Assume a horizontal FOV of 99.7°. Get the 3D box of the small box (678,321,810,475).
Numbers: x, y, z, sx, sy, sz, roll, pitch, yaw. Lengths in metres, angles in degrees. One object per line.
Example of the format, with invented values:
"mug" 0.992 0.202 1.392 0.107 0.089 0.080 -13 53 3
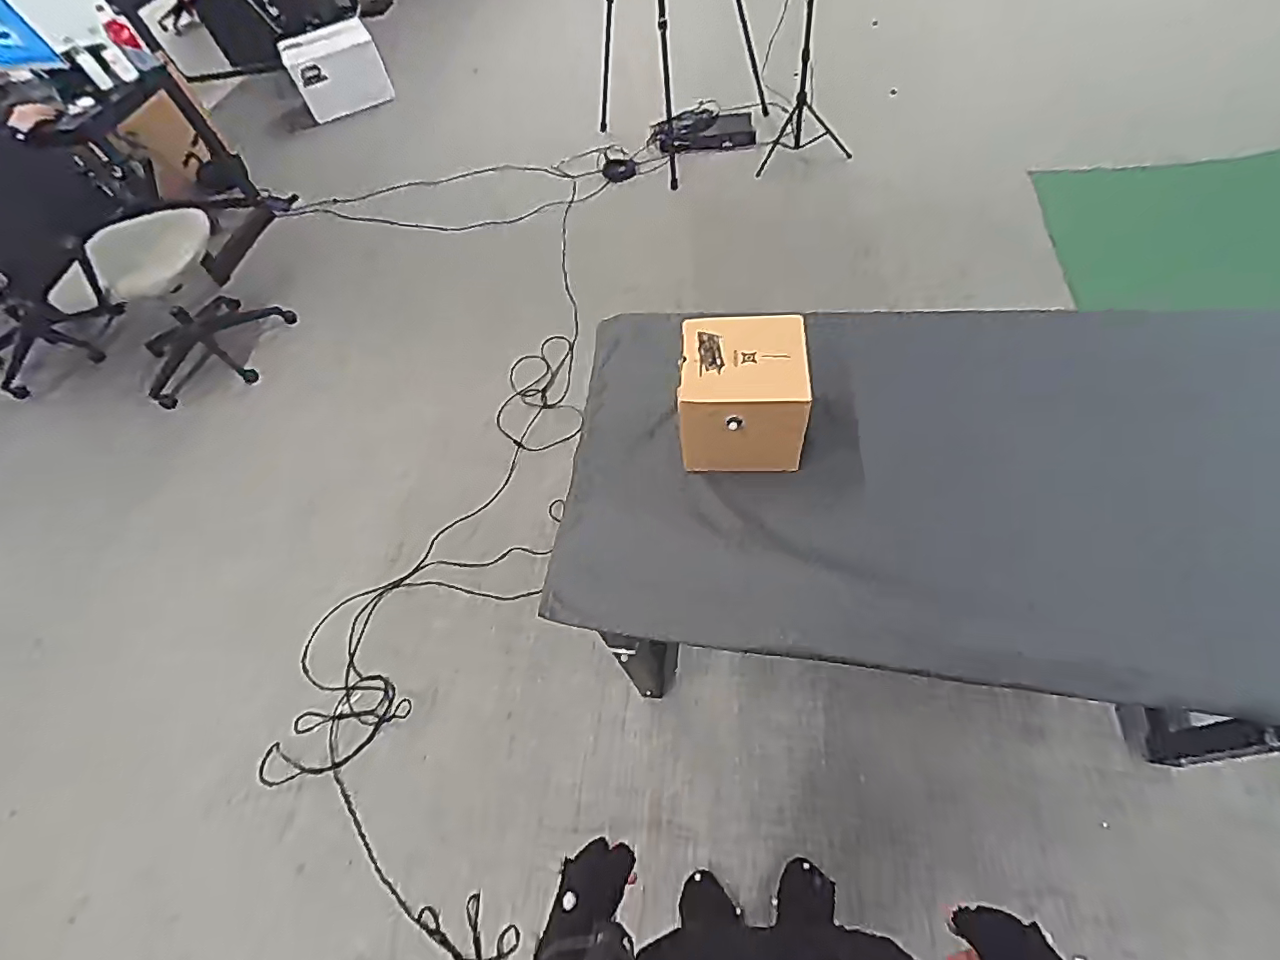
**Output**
"small box" 0.155 -0.118 0.822 0.179 0.176 0.168 0 57 9
